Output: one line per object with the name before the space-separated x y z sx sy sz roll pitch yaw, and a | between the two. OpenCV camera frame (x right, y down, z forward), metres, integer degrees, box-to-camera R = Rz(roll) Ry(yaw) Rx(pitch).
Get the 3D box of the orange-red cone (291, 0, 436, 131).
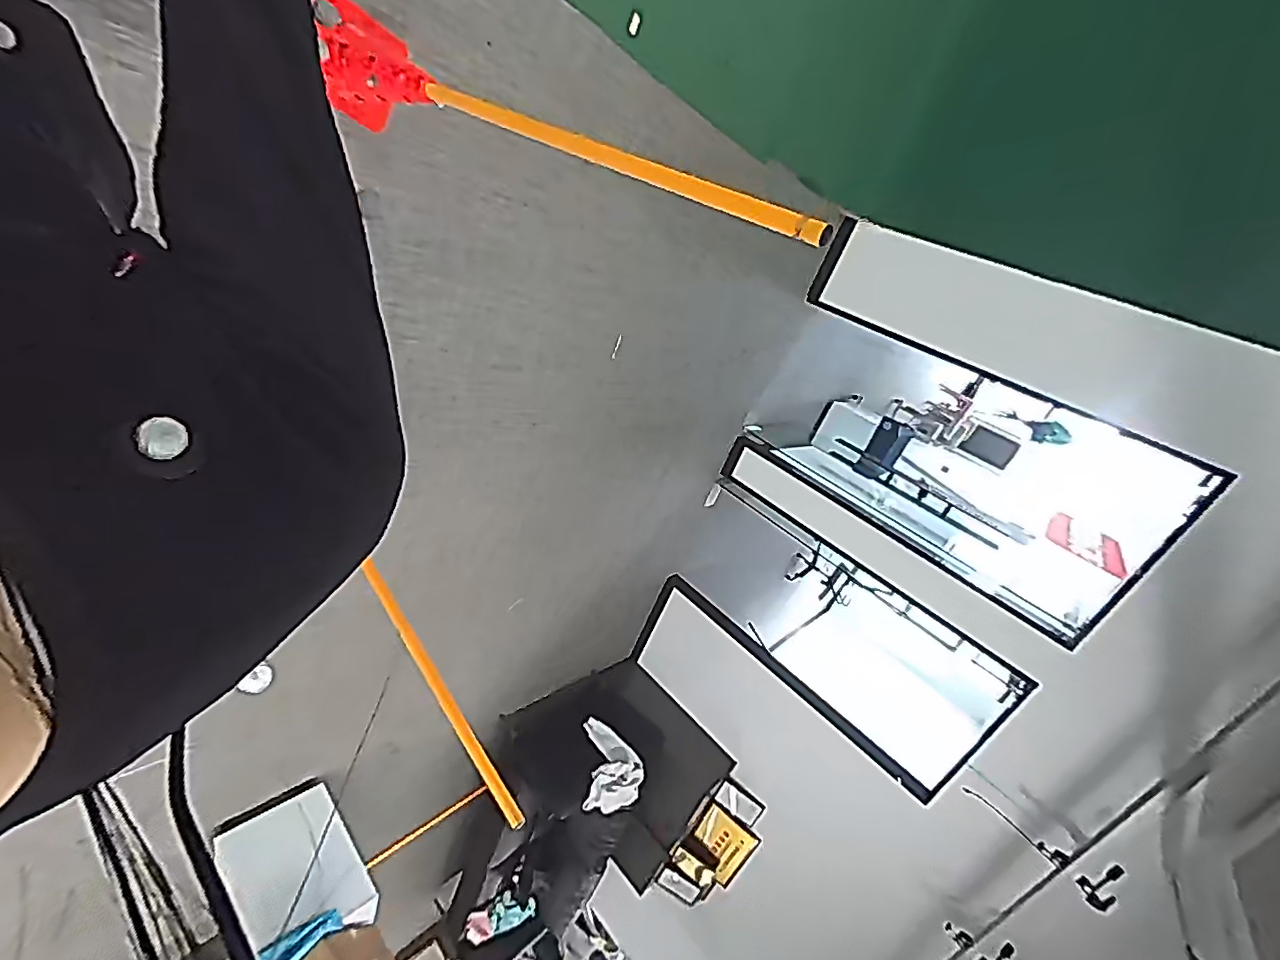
orange-red cone | -0.514 -0.816 1.091 0.198 0.360 0.199 10 114 -56
